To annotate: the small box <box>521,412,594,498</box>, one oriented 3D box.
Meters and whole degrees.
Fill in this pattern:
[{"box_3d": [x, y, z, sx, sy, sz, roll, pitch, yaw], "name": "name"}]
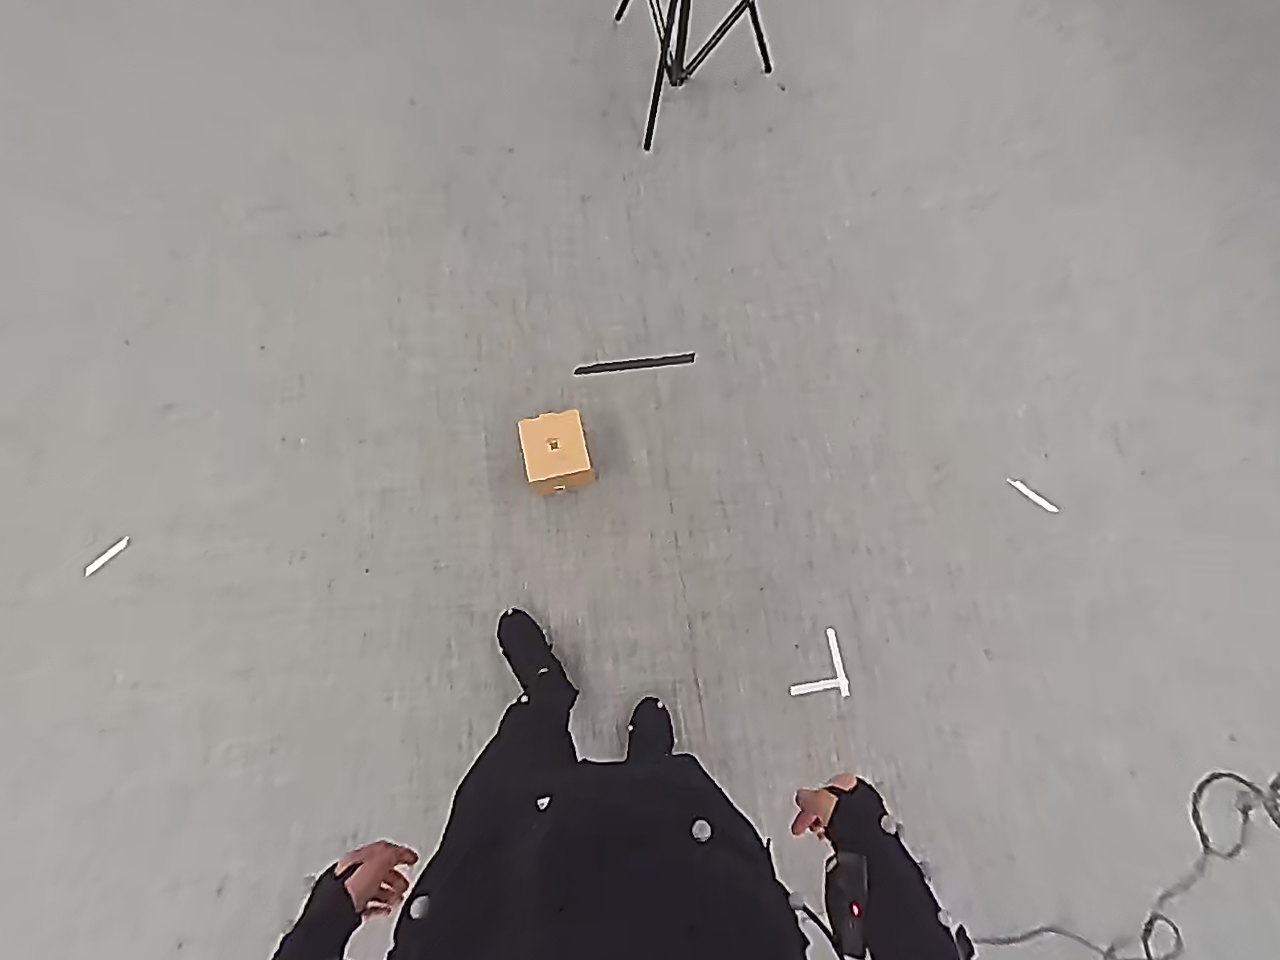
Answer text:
[{"box_3d": [-0.225, -0.064, 1.495, 0.168, 0.176, 0.179, -12, 76, -5], "name": "small box"}]
